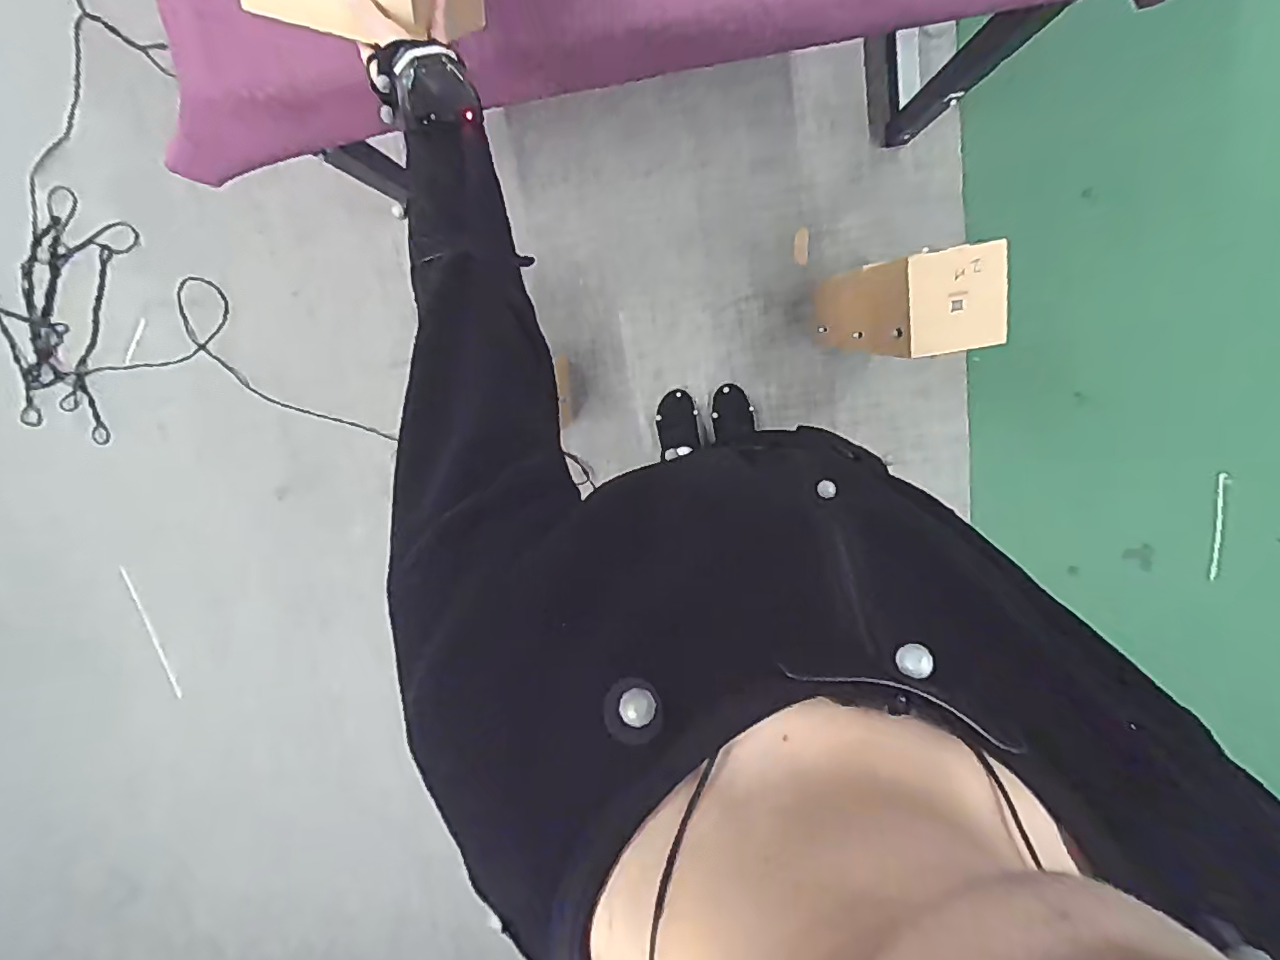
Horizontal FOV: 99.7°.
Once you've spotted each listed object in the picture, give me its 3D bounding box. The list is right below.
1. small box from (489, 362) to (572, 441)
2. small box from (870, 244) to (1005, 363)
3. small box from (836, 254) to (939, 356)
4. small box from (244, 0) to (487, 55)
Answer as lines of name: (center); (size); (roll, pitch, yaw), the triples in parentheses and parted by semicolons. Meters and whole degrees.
small box: (-0.275, -0.207, 1.398); (0.168, 0.176, 0.179); (-5, 104, 3)
small box: (0.544, -0.321, 1.005); (0.168, 0.176, 0.179); (-9, 104, 4)
small box: (0.534, -0.368, 1.164); (0.168, 0.176, 0.179); (-9, 104, 4)
small box: (-0.260, -0.534, 0.507); (0.179, 0.176, 0.168); (15, 139, 0)
